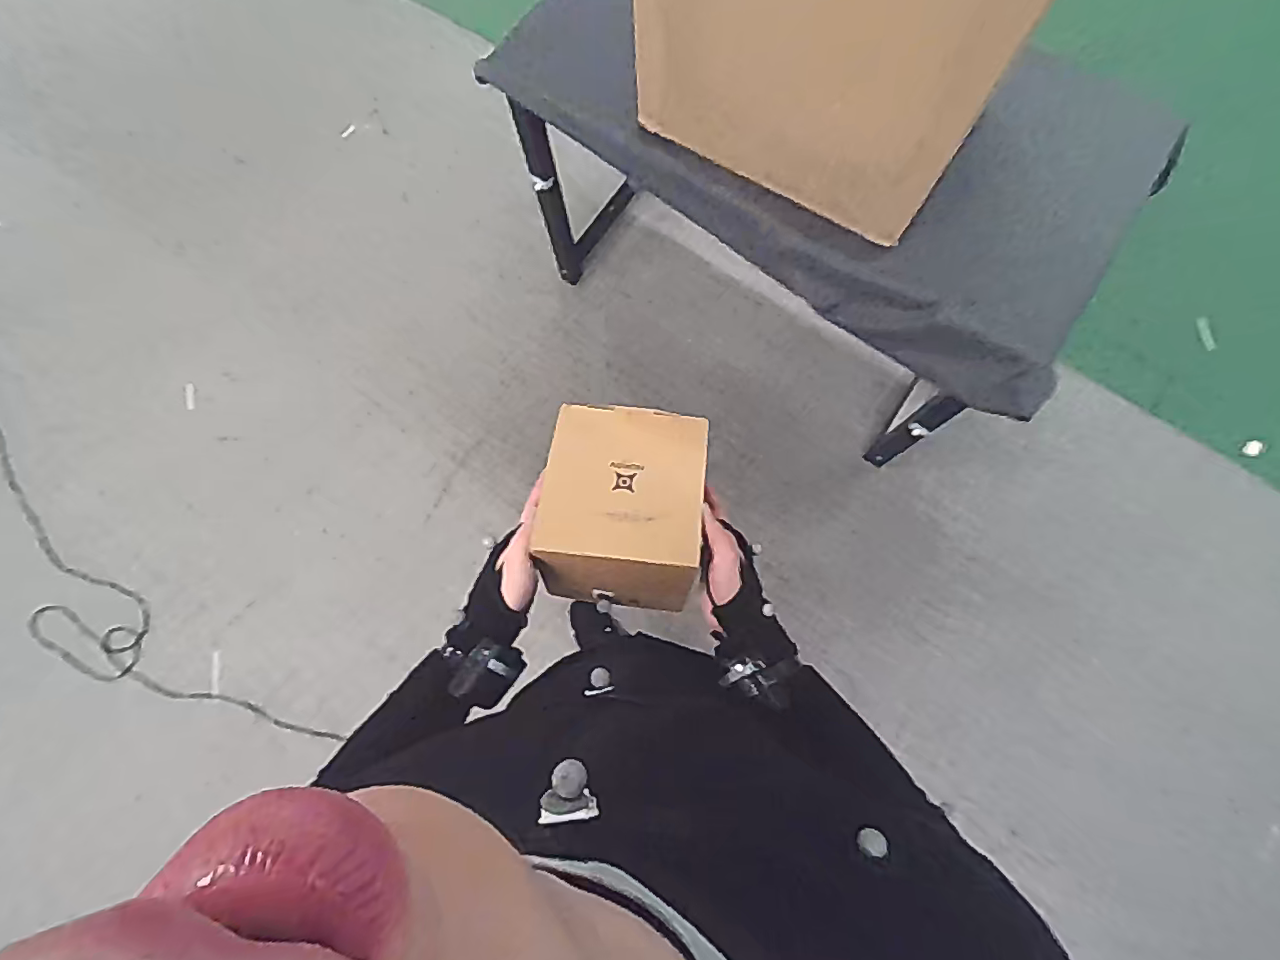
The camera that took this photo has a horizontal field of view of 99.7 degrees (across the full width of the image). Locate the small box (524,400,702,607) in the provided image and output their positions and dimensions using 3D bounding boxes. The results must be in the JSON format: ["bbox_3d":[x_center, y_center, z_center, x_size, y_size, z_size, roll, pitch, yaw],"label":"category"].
[{"bbox_3d":[-0.027,0.034,0.633,0.168,0.176,0.179,7,63,1],"label":"small box"}]
